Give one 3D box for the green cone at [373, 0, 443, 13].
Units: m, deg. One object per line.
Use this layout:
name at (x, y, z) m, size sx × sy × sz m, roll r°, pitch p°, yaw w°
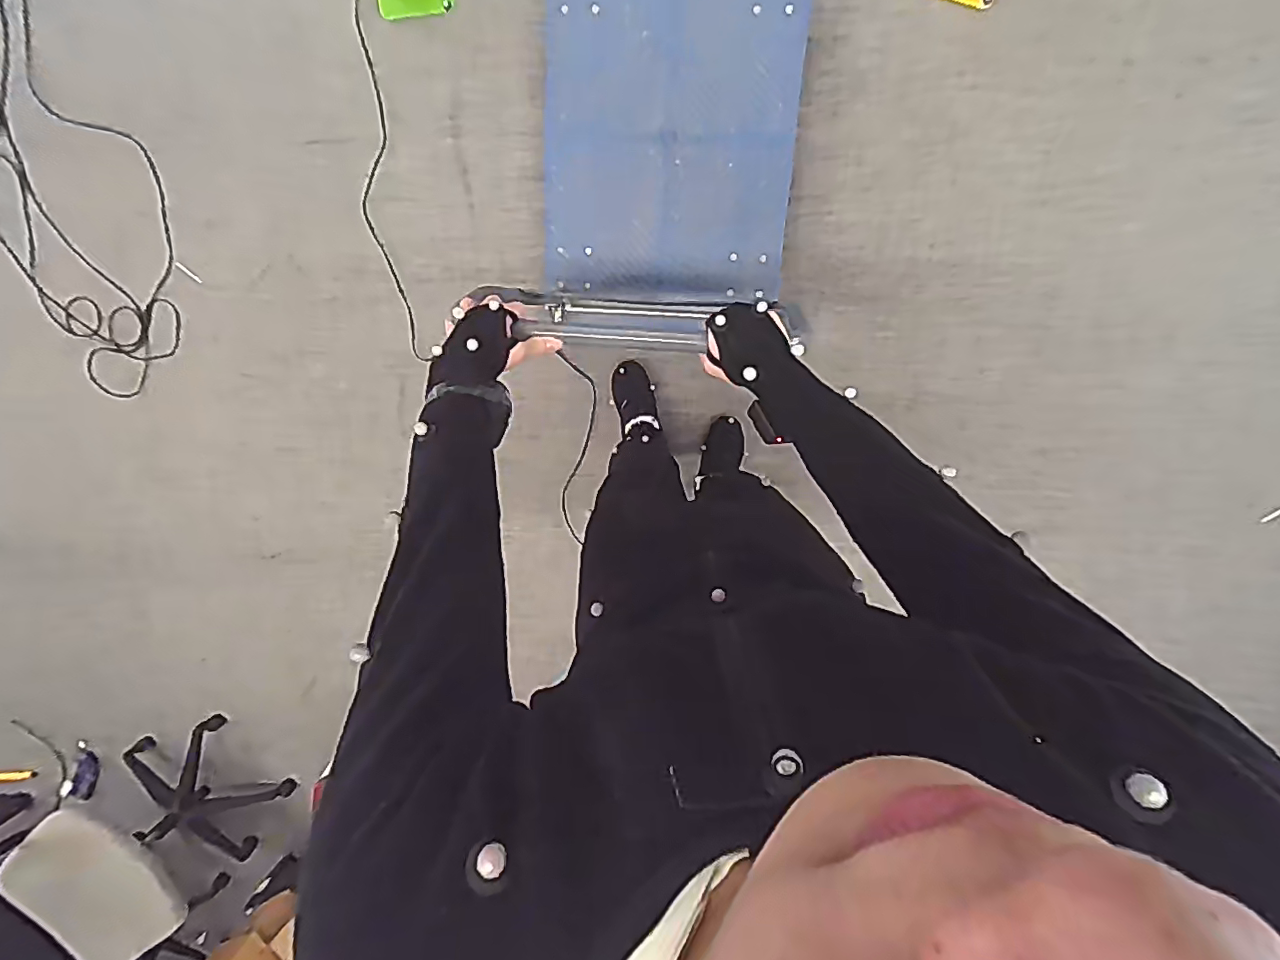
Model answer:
green cone at (-0.607, -1.244, 1.173) m, size 0.202 × 0.368 × 0.200 m, roll -2°, pitch 104°, yaw 9°
